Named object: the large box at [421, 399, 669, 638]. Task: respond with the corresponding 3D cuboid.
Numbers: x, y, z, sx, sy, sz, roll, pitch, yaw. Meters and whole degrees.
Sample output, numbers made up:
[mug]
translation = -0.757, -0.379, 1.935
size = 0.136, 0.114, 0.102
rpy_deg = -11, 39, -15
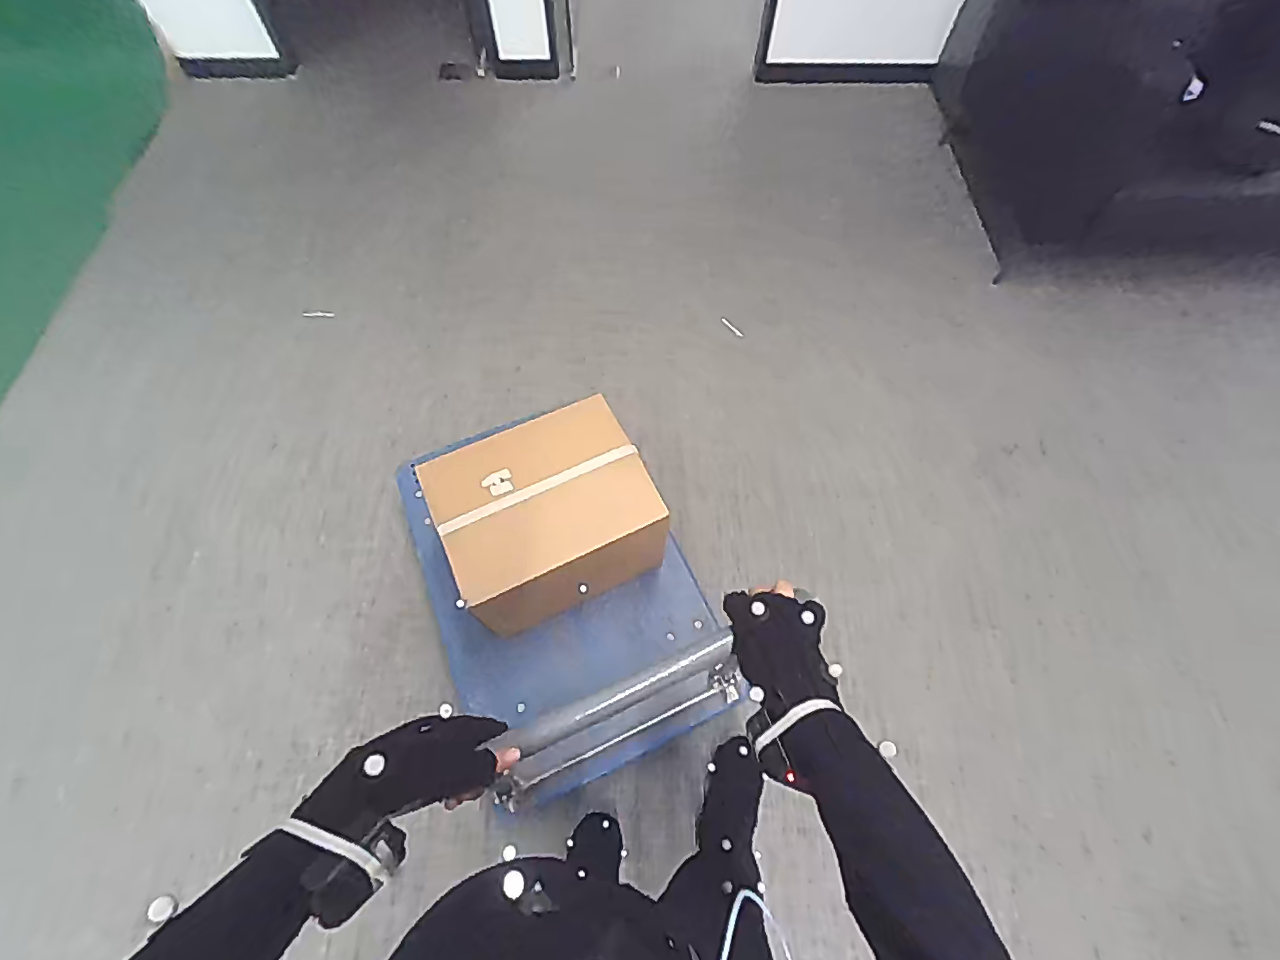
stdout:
[large box]
translation = -0.188, 0.094, 1.176
size = 0.408, 0.320, 0.320
rpy_deg = -25, 66, -12
